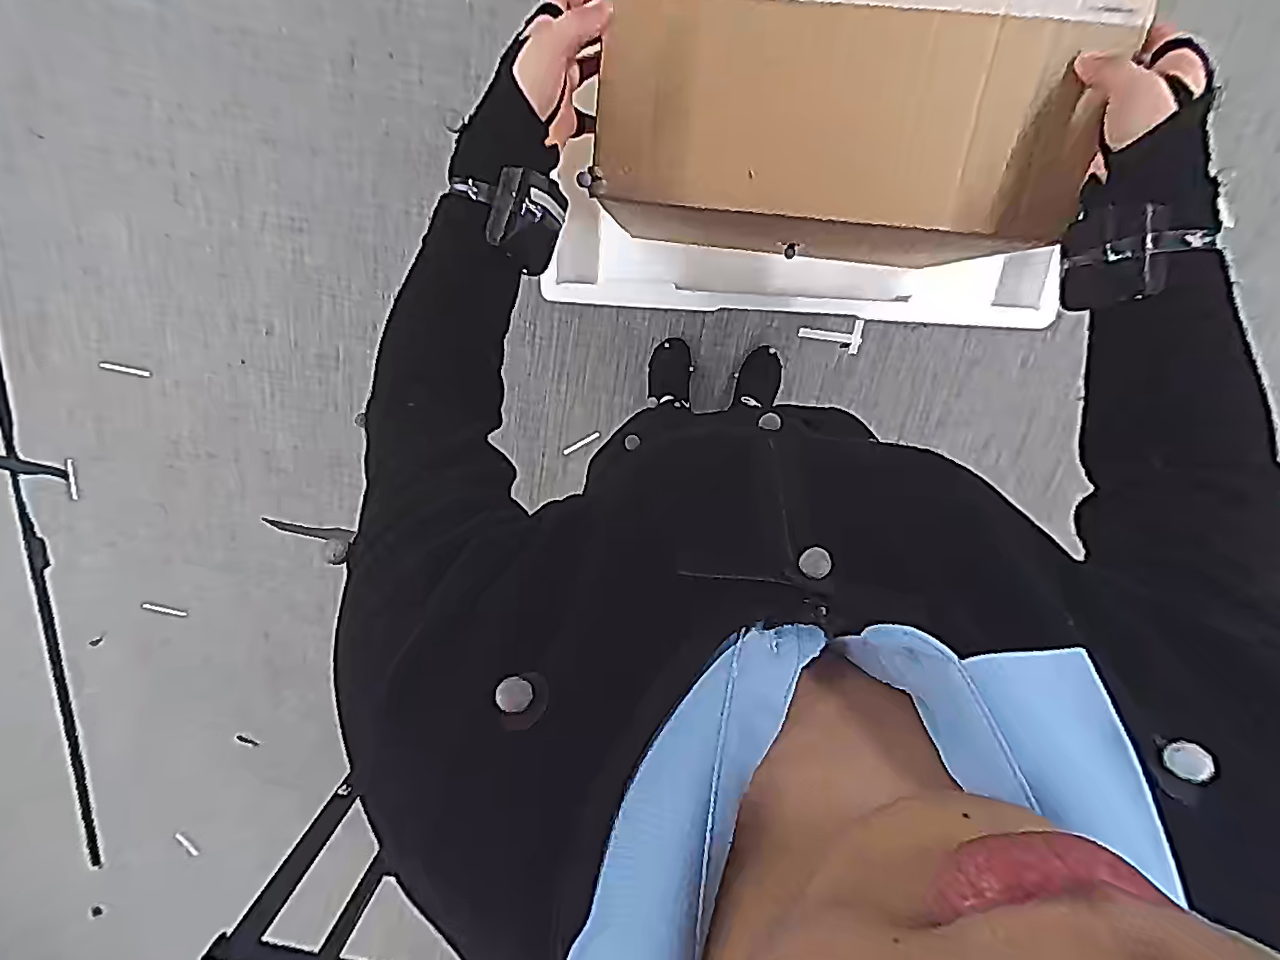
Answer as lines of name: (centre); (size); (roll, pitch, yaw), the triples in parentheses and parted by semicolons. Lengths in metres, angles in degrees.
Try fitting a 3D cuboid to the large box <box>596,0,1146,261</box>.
large box: (0.188, -0.408, 0.549); (0.408, 0.320, 0.320); (7, 107, 4)
